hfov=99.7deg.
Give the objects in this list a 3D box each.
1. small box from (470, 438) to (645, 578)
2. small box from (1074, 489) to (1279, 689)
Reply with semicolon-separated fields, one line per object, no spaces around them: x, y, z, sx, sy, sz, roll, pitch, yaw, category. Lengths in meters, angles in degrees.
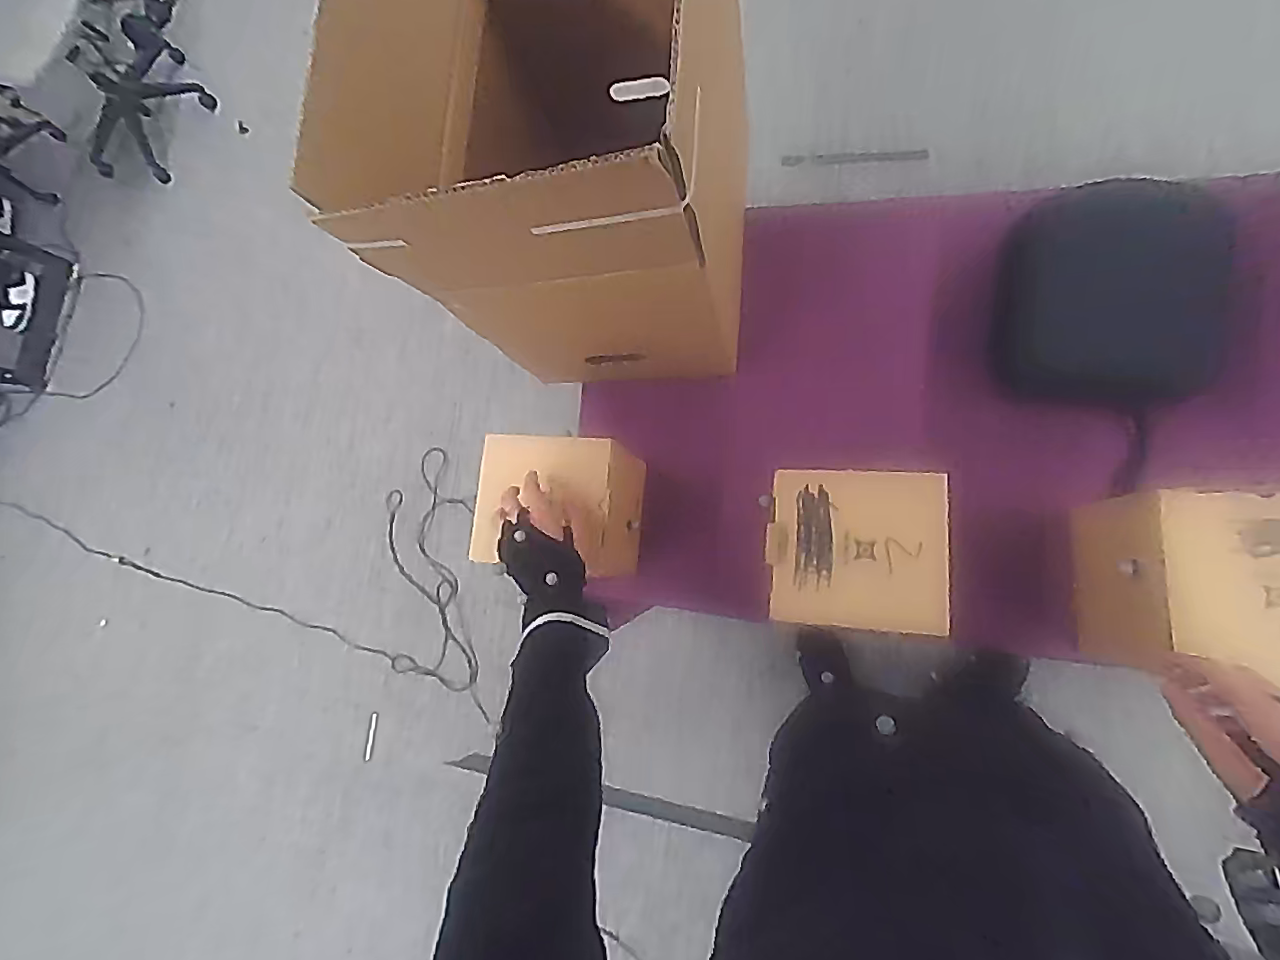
-0.103;0.043;0.741;0.179;0.176;0.168;3;82;14;small box
0.579;0.107;0.551;0.168;0.176;0.179;-1;82;15;small box
